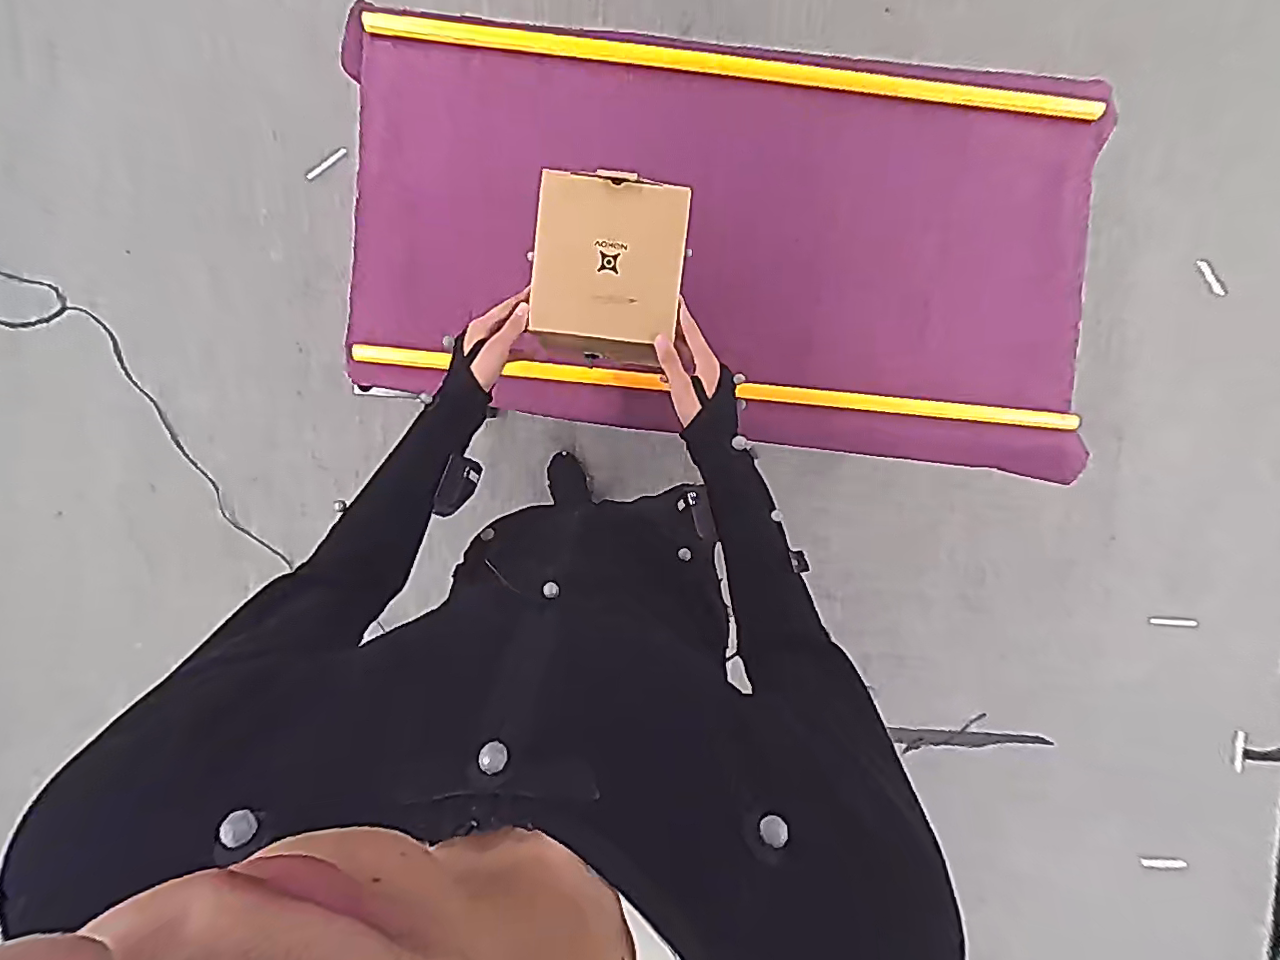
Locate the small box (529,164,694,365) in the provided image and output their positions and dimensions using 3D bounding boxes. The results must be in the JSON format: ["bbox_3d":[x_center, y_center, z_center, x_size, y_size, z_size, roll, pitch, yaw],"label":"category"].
[{"bbox_3d":[-0.034,-0.250,0.668,0.168,0.176,0.179,6,93,-2],"label":"small box"}]
